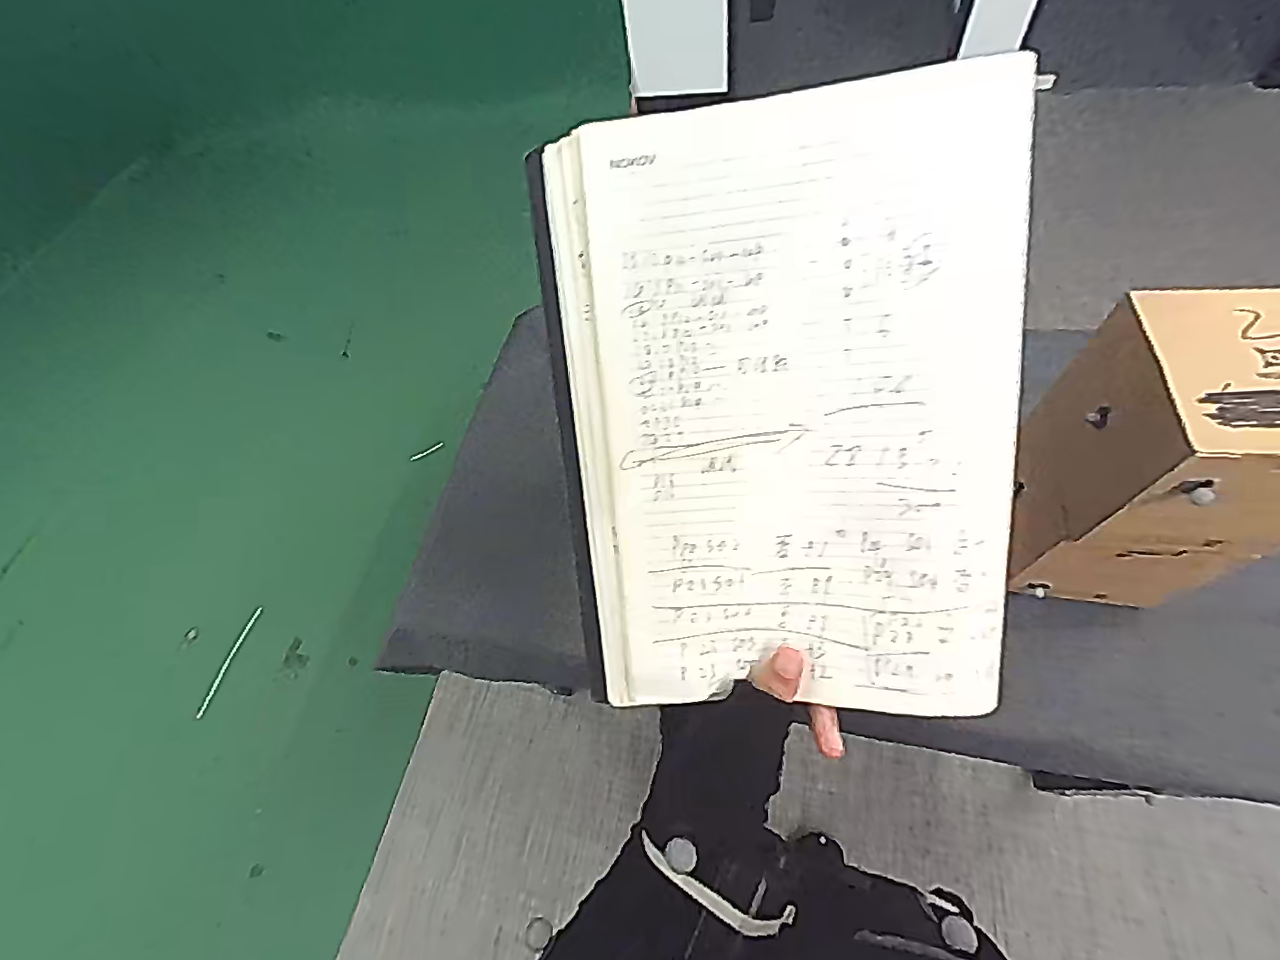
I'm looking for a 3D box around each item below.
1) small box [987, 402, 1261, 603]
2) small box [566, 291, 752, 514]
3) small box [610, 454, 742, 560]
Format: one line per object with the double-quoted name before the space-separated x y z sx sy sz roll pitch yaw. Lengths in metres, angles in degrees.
"small box" 0.538 0.031 0.637 0.168 0.176 0.179 6 60 12
"small box" 0.031 -0.082 0.594 0.168 0.176 0.179 3 60 10
"small box" 0.054 -0.008 0.737 0.168 0.176 0.179 2 60 11
